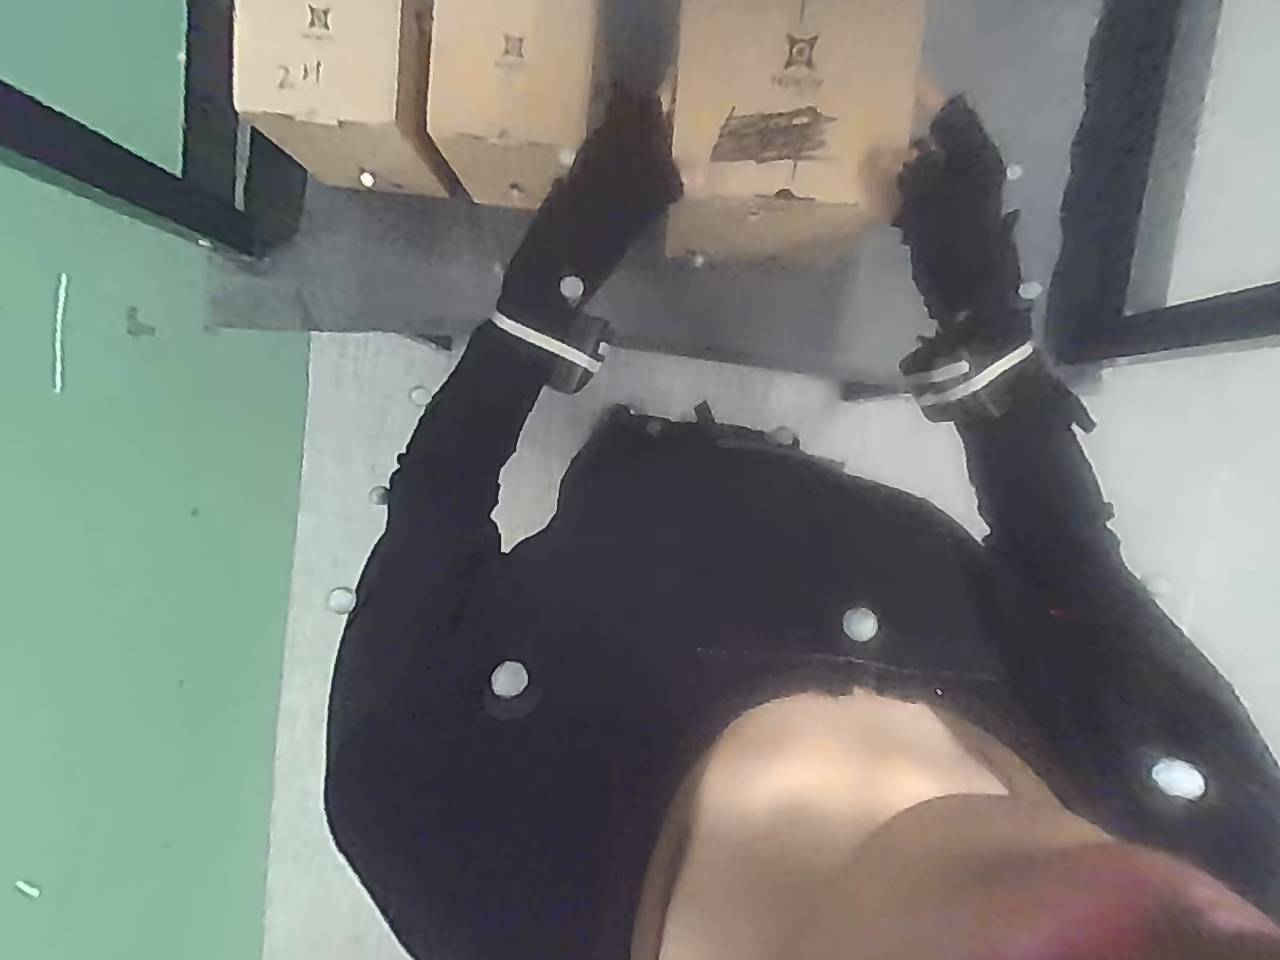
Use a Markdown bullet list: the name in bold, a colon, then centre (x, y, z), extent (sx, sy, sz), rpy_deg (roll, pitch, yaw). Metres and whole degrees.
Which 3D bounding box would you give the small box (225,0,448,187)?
- **small box**: centre (-0.322, -0.466, 0.610), extent (0.168, 0.176, 0.179), rpy_deg (5, 95, -1)

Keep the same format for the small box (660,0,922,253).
- **small box**: centre (0.105, -0.299, 0.444), extent (0.168, 0.176, 0.179), rpy_deg (4, 97, 1)

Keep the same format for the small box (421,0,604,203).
- **small box**: centre (-0.132, -0.448, 0.617), extent (0.168, 0.176, 0.179), rpy_deg (6, 96, -1)
